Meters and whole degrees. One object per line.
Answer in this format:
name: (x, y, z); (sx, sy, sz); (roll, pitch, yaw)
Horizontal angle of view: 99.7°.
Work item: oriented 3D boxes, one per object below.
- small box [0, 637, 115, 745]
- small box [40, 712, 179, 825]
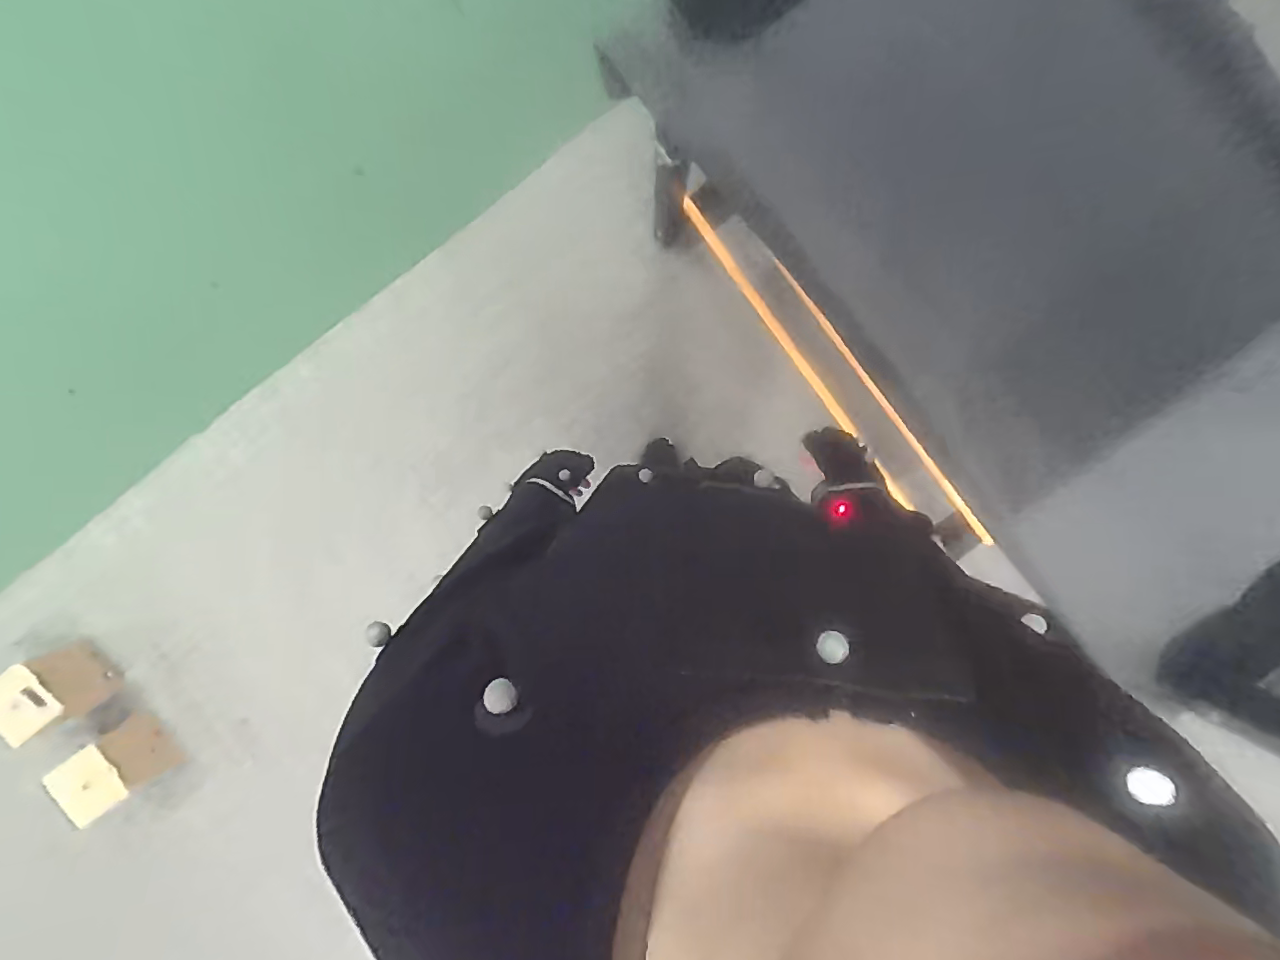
small box: (-1.578, 0.554, 1.447); (0.179, 0.176, 0.168); (-38, 92, 3)
small box: (-1.418, 0.770, 1.459); (0.179, 0.176, 0.168); (-35, 92, 2)
